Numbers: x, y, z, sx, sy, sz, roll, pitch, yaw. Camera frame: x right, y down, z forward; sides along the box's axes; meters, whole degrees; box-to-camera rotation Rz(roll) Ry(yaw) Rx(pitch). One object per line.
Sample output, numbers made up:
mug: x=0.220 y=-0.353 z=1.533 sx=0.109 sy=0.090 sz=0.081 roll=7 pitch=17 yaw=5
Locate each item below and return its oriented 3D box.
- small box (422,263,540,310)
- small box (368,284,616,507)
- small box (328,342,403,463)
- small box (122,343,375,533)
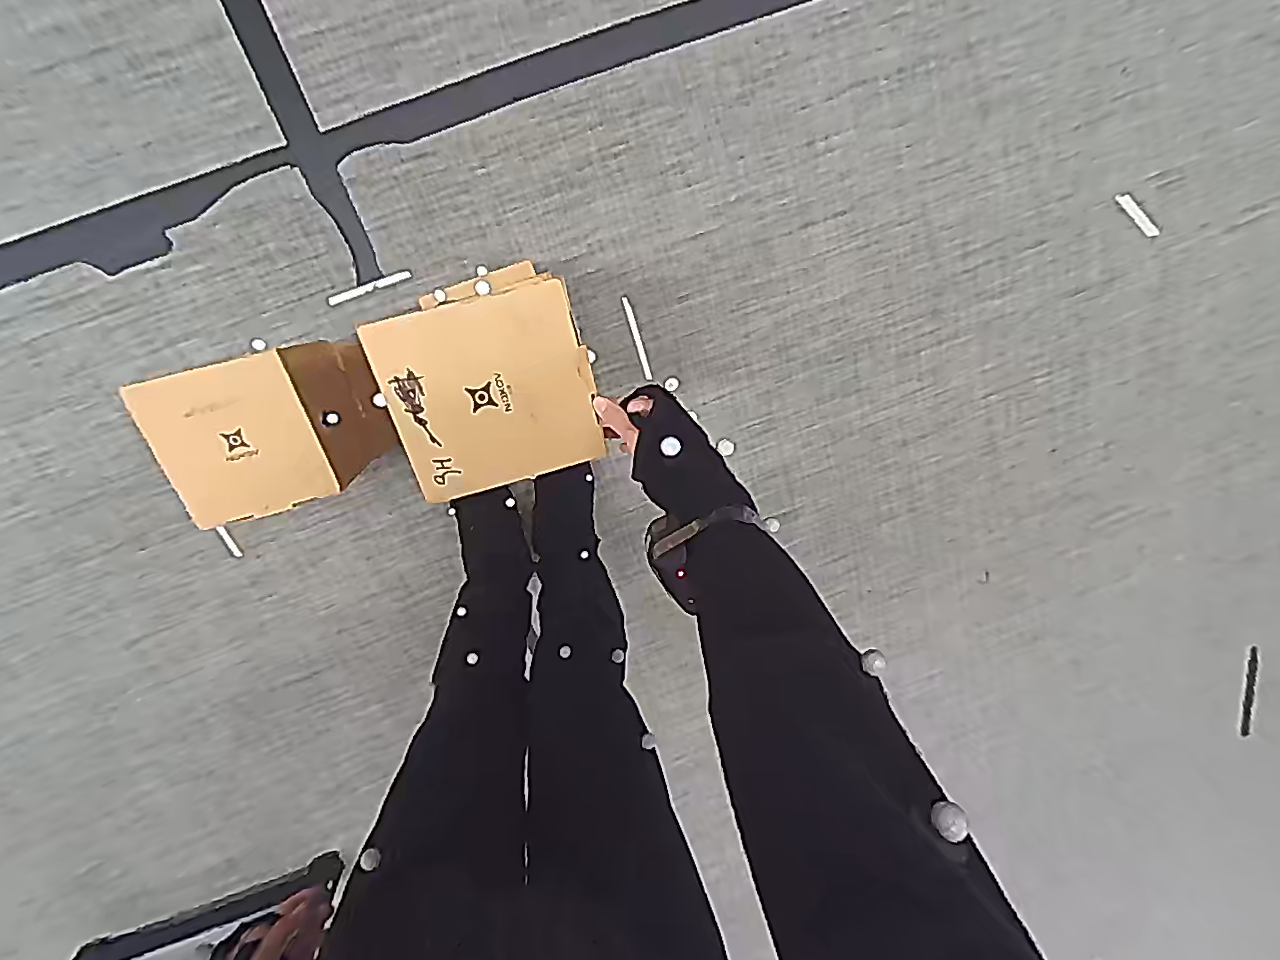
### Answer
small box: x=-0.209 y=-0.222 z=0.841 sx=0.168 sy=0.176 sz=0.179 roll=-21 pitch=111 yaw=-4
small box: x=-0.138 y=-0.097 z=0.545 sx=0.179 sy=0.176 sz=0.168 roll=-16 pitch=112 yaw=-7
small box: x=-0.490 y=-0.107 z=0.828 sx=0.179 sy=0.176 sz=0.168 roll=-15 pitch=111 yaw=-6
small box: x=-0.459 y=-0.063 z=0.675 sx=0.168 sy=0.176 sz=0.179 roll=-17 pitch=110 yaw=-7
